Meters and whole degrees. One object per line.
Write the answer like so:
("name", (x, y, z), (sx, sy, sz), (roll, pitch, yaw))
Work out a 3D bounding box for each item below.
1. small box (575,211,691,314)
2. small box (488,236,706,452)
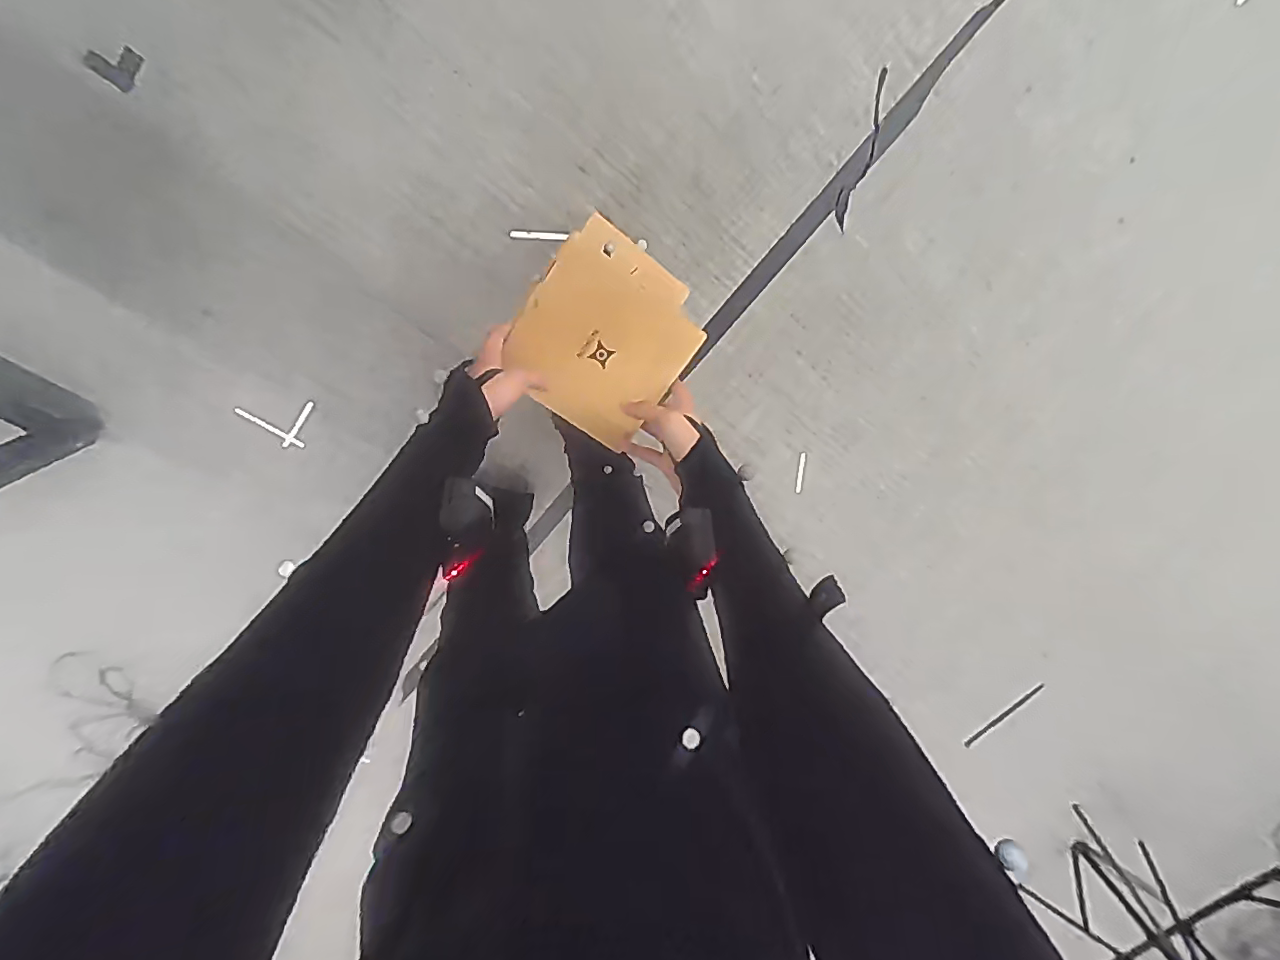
("small box", (-0.052, -0.266, 0.798), (0.168, 0.176, 0.179), (33, 107, -22))
("small box", (-0.051, -0.167, 0.643), (0.179, 0.176, 0.168), (33, 106, -18))
